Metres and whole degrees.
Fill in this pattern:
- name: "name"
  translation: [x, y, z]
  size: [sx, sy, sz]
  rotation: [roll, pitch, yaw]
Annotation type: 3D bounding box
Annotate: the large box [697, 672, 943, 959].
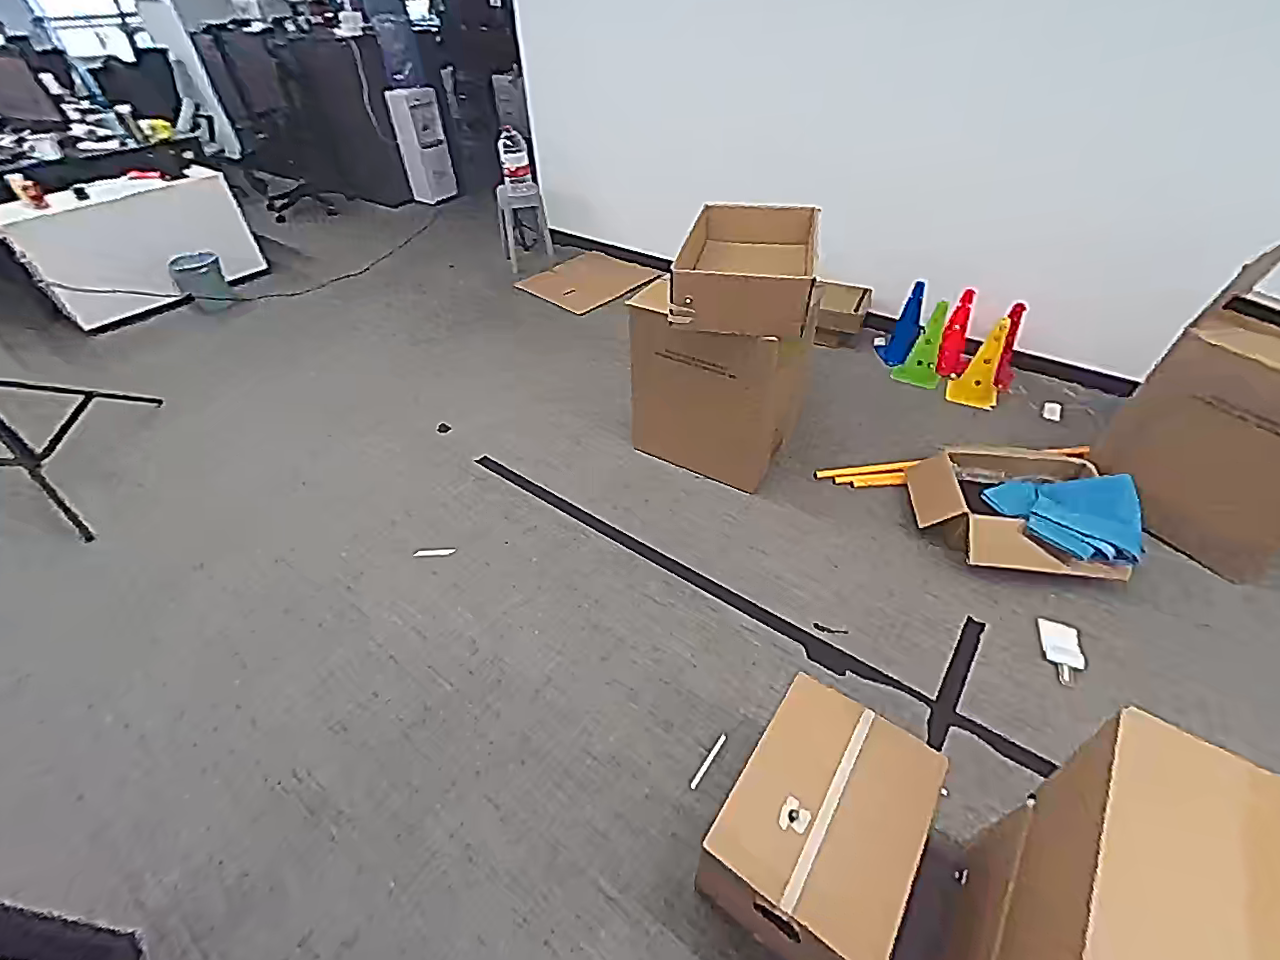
- name: "large box"
  translation: [0.350, 0.689, 1.087]
  size: [0.320, 0.320, 0.408]
  rotation: [25, 50, 27]
